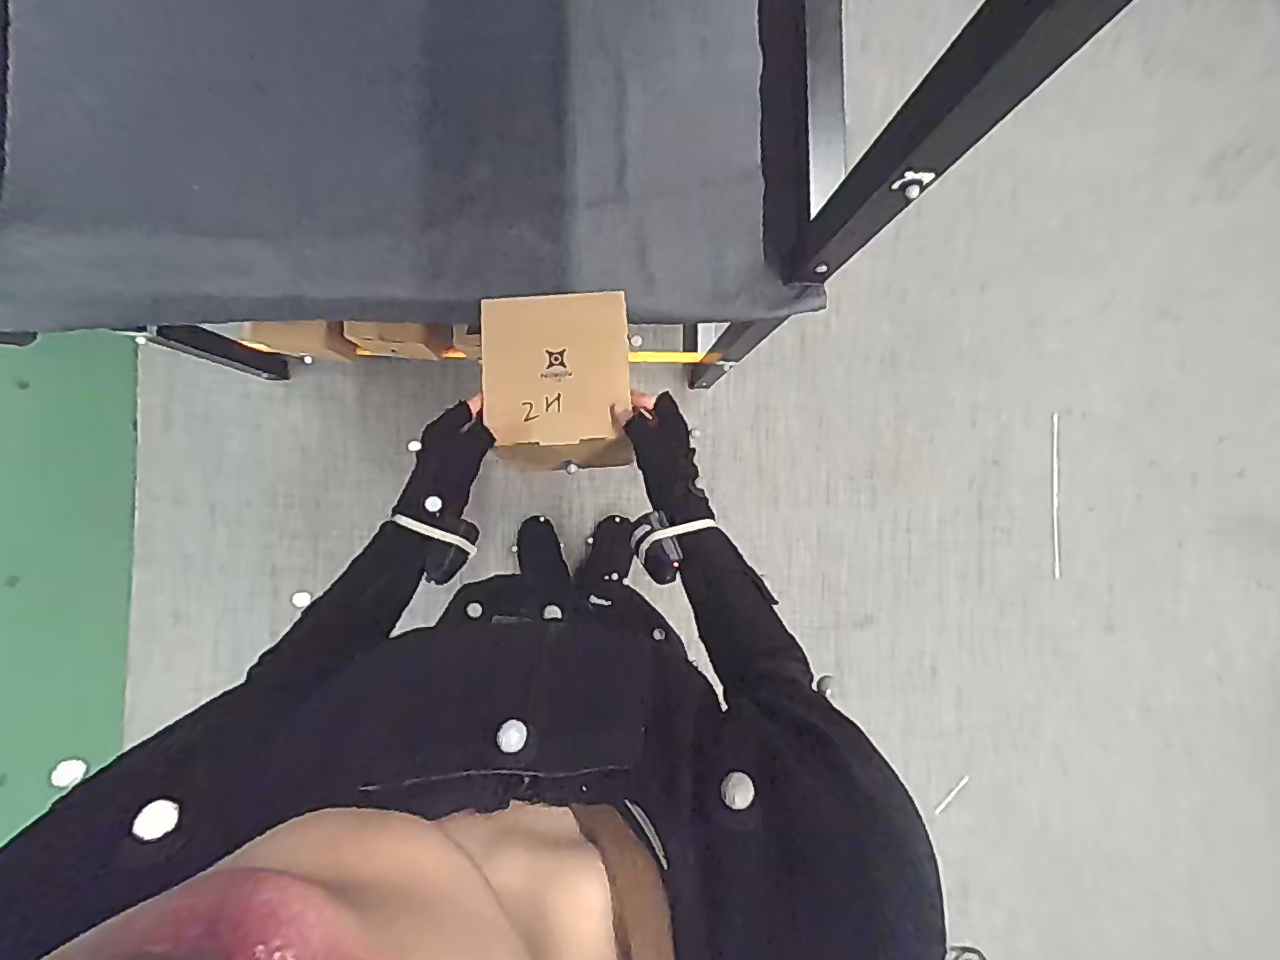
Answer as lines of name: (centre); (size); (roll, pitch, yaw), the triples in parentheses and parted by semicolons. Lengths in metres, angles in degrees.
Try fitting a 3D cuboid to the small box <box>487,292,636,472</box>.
small box: (-0.092, -0.115, 0.687); (0.168, 0.176, 0.179); (-4, 80, 0)
